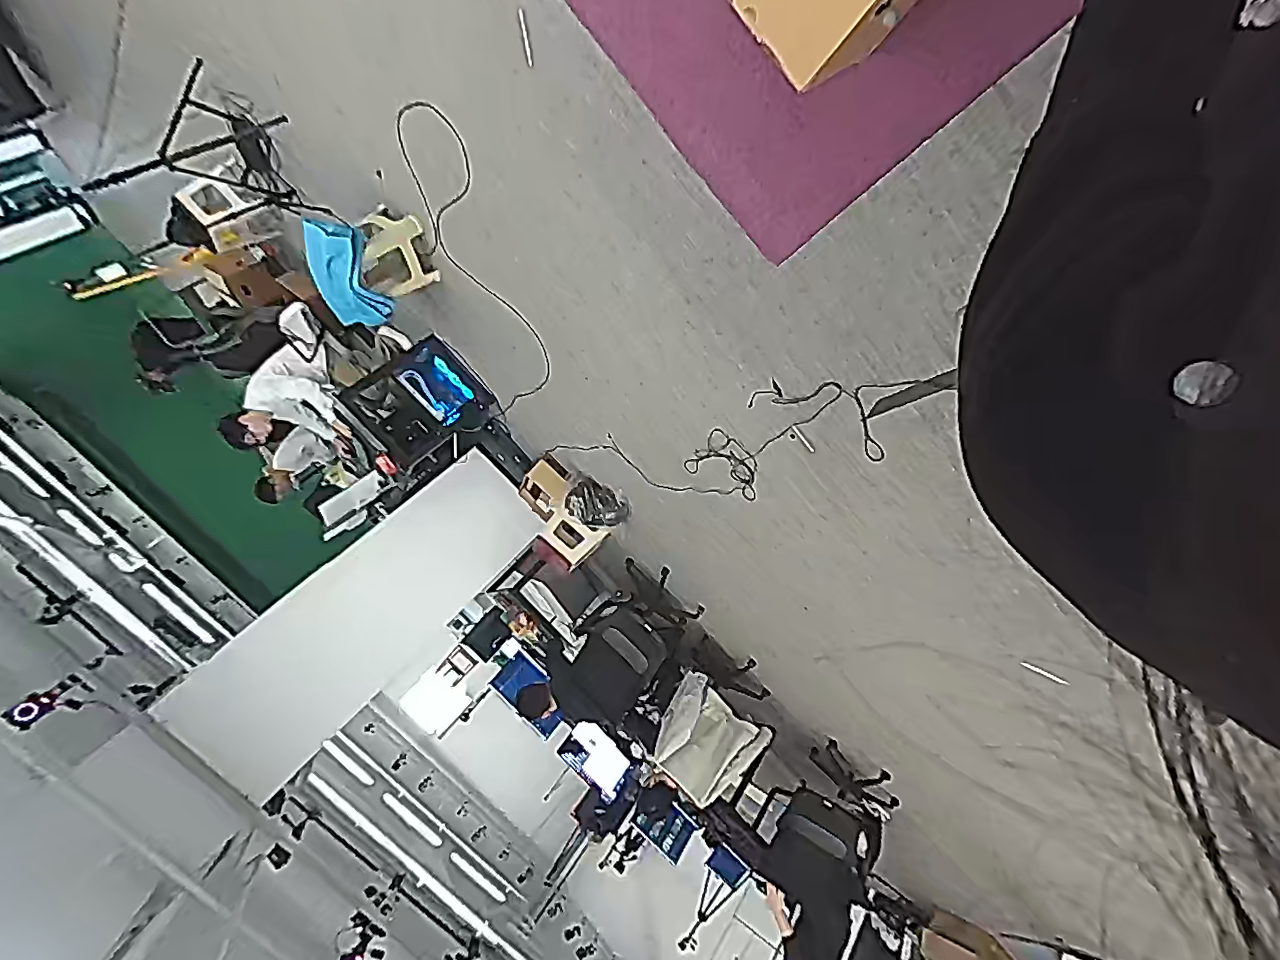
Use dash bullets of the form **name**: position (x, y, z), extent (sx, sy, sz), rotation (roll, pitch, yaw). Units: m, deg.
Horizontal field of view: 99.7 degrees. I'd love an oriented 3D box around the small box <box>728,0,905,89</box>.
- **small box**: position (0.184, -0.509, 0.478), extent (0.168, 0.176, 0.179), rotation (48, 151, -8)
